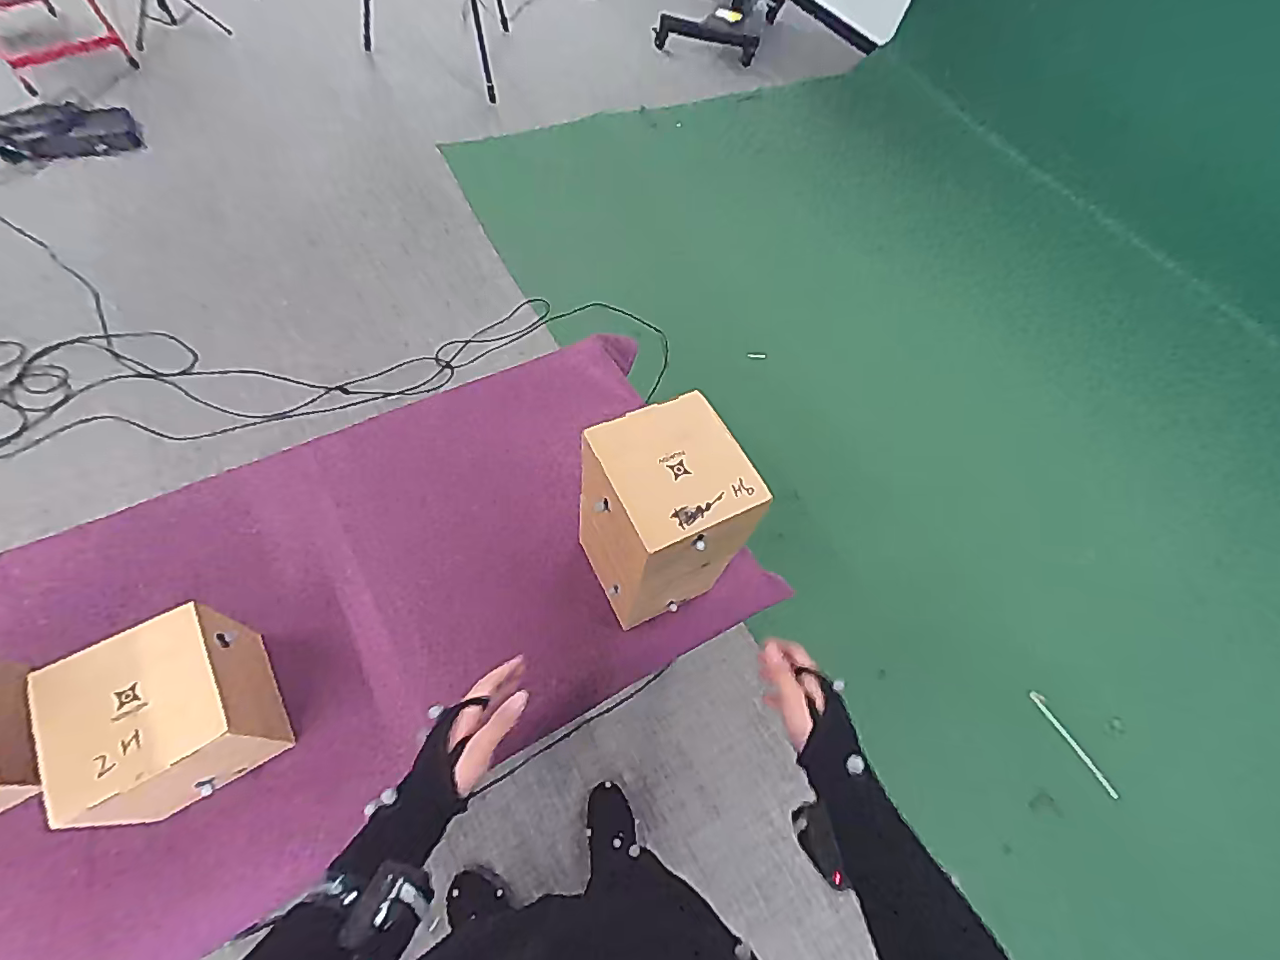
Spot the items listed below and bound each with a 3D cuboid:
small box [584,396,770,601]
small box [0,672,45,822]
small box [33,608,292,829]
[{"bbox_3d":[0.033,0.028,0.698,0.168,0.176,0.179,-22,64,-17],"label":"small box"},{"bbox_3d":[-0.842,0.323,0.611,0.168,0.176,0.179,-28,68,-21],"label":"small box"},{"bbox_3d":[-0.568,0.292,0.663,0.168,0.176,0.179,-27,67,-20],"label":"small box"}]
